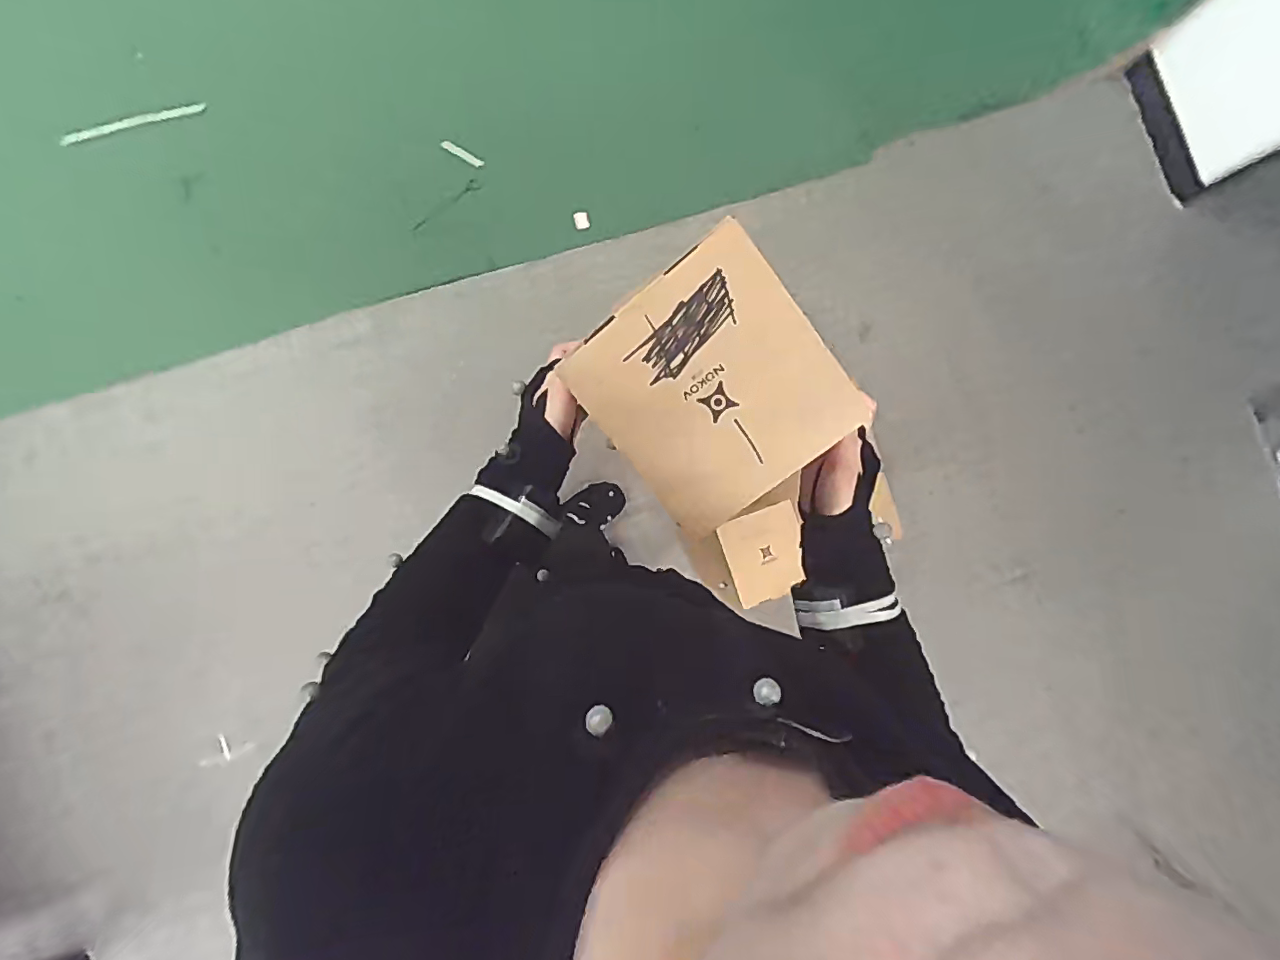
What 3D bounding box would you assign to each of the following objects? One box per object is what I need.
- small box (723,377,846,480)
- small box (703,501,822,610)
[{"bbox_3d":[0.301,-0.104,1.157,0.179,0.176,0.168,-17,88,-8],"label":"small box"},{"bbox_3d":[0.249,0.150,1.135,0.168,0.176,0.179,-19,89,-8],"label":"small box"}]
